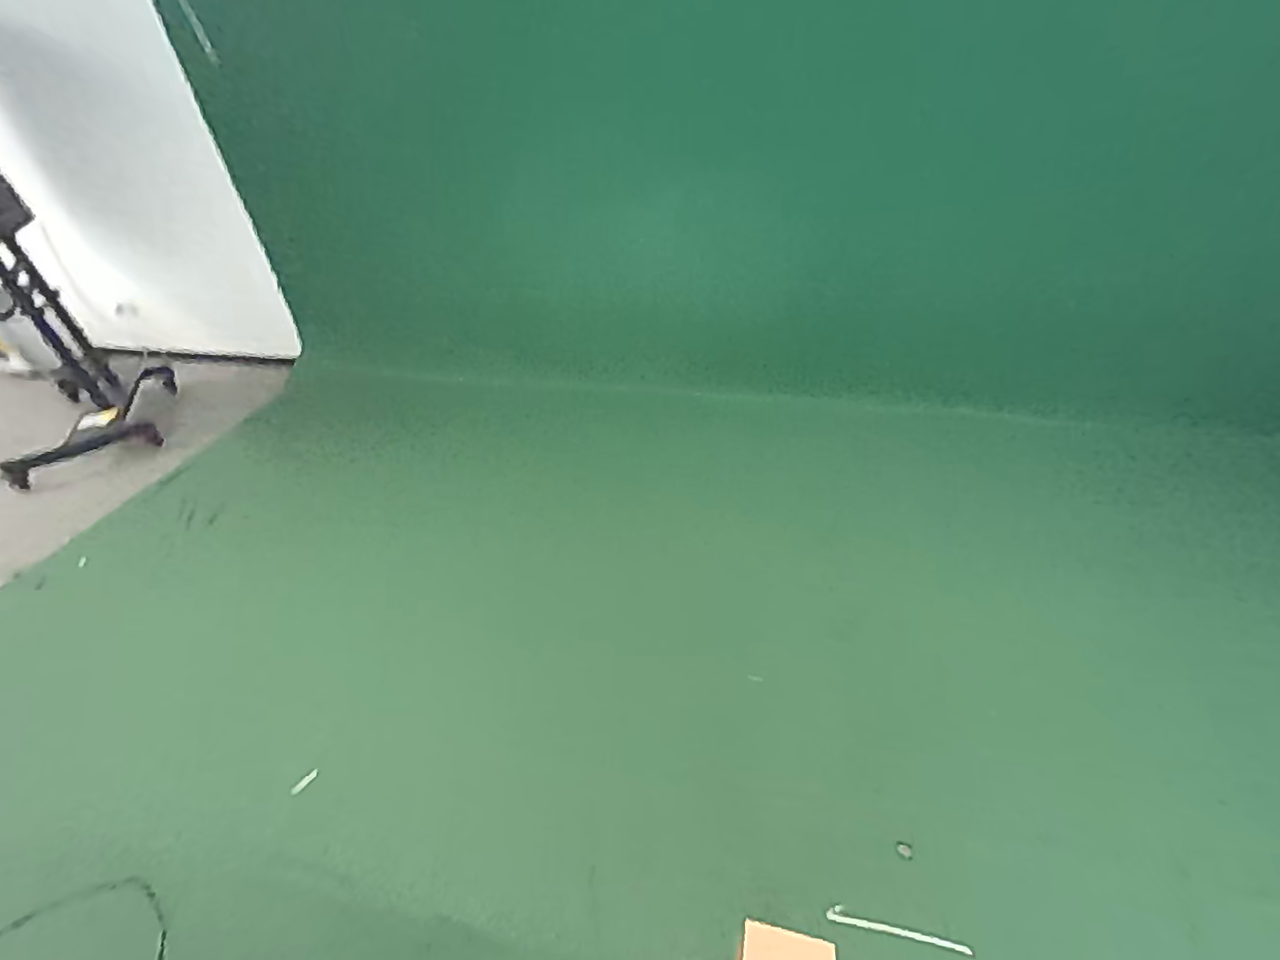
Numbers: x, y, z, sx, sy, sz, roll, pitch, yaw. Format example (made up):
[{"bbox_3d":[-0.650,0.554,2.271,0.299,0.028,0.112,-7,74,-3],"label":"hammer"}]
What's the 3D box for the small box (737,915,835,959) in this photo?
[{"bbox_3d":[0.261,0.955,0.999,0.168,0.176,0.179,7,39,13],"label":"small box"}]
